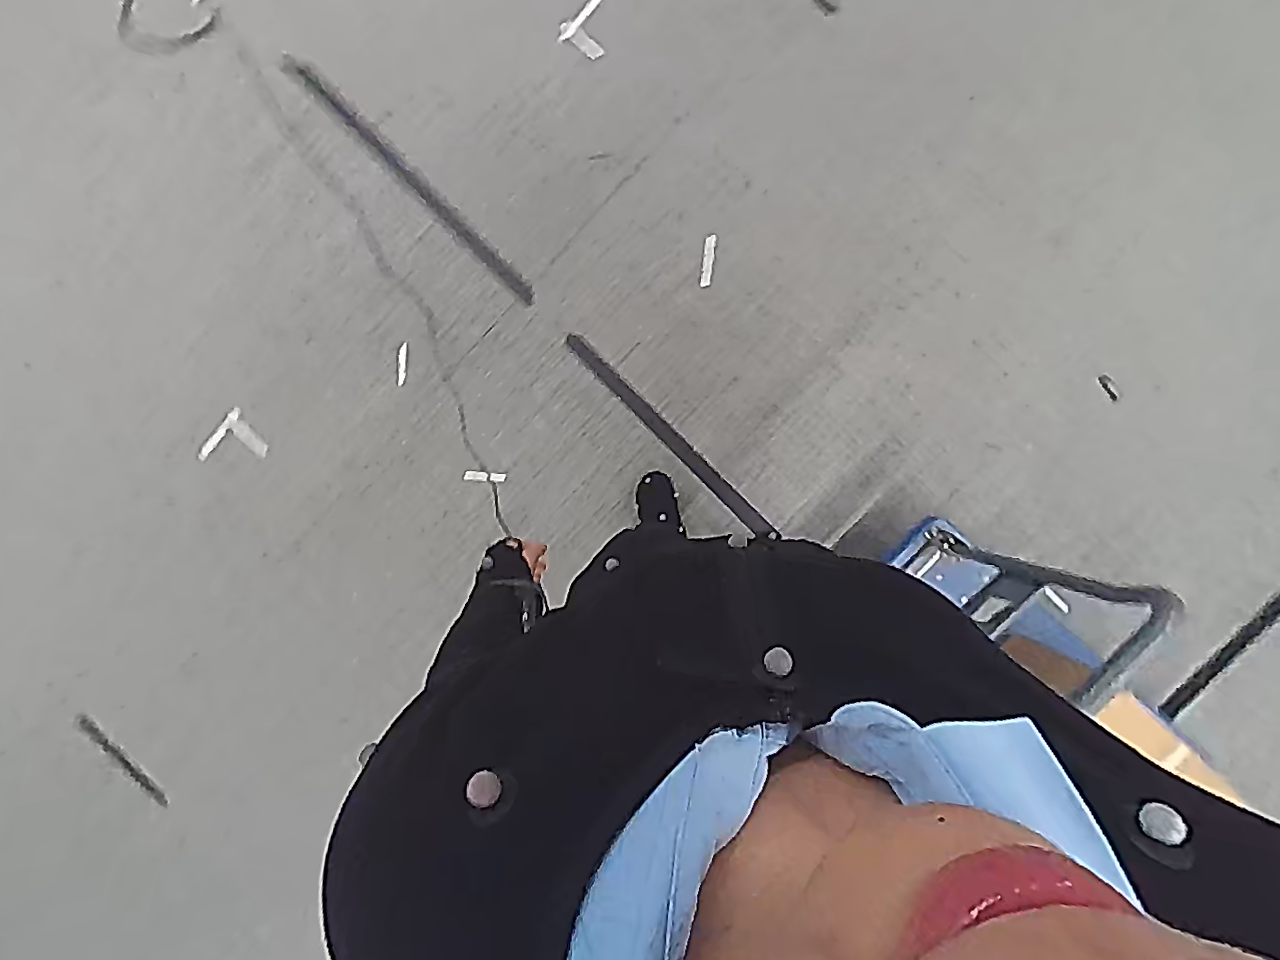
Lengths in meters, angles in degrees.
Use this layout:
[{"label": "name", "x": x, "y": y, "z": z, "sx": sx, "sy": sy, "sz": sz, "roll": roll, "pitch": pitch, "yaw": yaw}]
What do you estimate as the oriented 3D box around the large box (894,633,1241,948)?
[{"label": "large box", "x": 0.830, "y": 0.600, "z": 1.119, "sx": 0.320, "sy": 0.320, "sz": 0.408, "roll": 45, "pitch": 93, "yaw": 1}]
